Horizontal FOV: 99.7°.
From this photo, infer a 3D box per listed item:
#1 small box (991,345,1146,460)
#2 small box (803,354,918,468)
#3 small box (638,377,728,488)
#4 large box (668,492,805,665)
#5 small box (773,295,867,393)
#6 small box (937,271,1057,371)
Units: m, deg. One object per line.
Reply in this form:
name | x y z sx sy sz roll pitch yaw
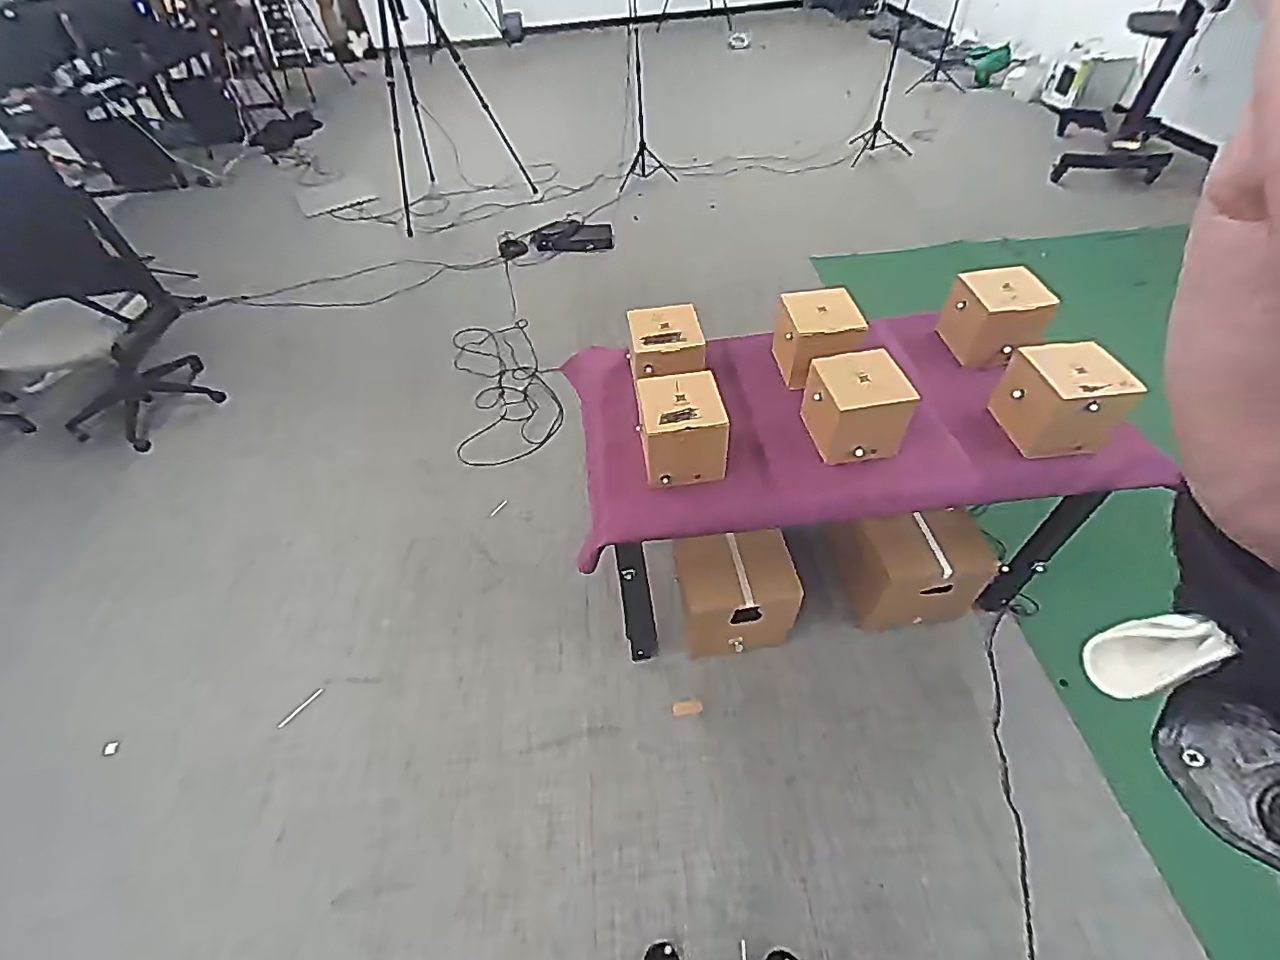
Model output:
small box | 0.897 -0.165 1.158 0.168 0.176 0.179 -6 46 2
small box | 0.471 -0.150 1.189 0.168 0.176 0.179 -9 48 -1
small box | 0.091 -0.097 1.175 0.168 0.176 0.179 -8 47 -2
large box | 0.281 0.305 1.689 0.320 0.320 0.408 -8 47 -3
small box | 0.443 -0.342 1.364 0.168 0.176 0.179 -6 49 -1
small box | 0.887 -0.401 1.366 0.168 0.176 0.179 -7 49 2
